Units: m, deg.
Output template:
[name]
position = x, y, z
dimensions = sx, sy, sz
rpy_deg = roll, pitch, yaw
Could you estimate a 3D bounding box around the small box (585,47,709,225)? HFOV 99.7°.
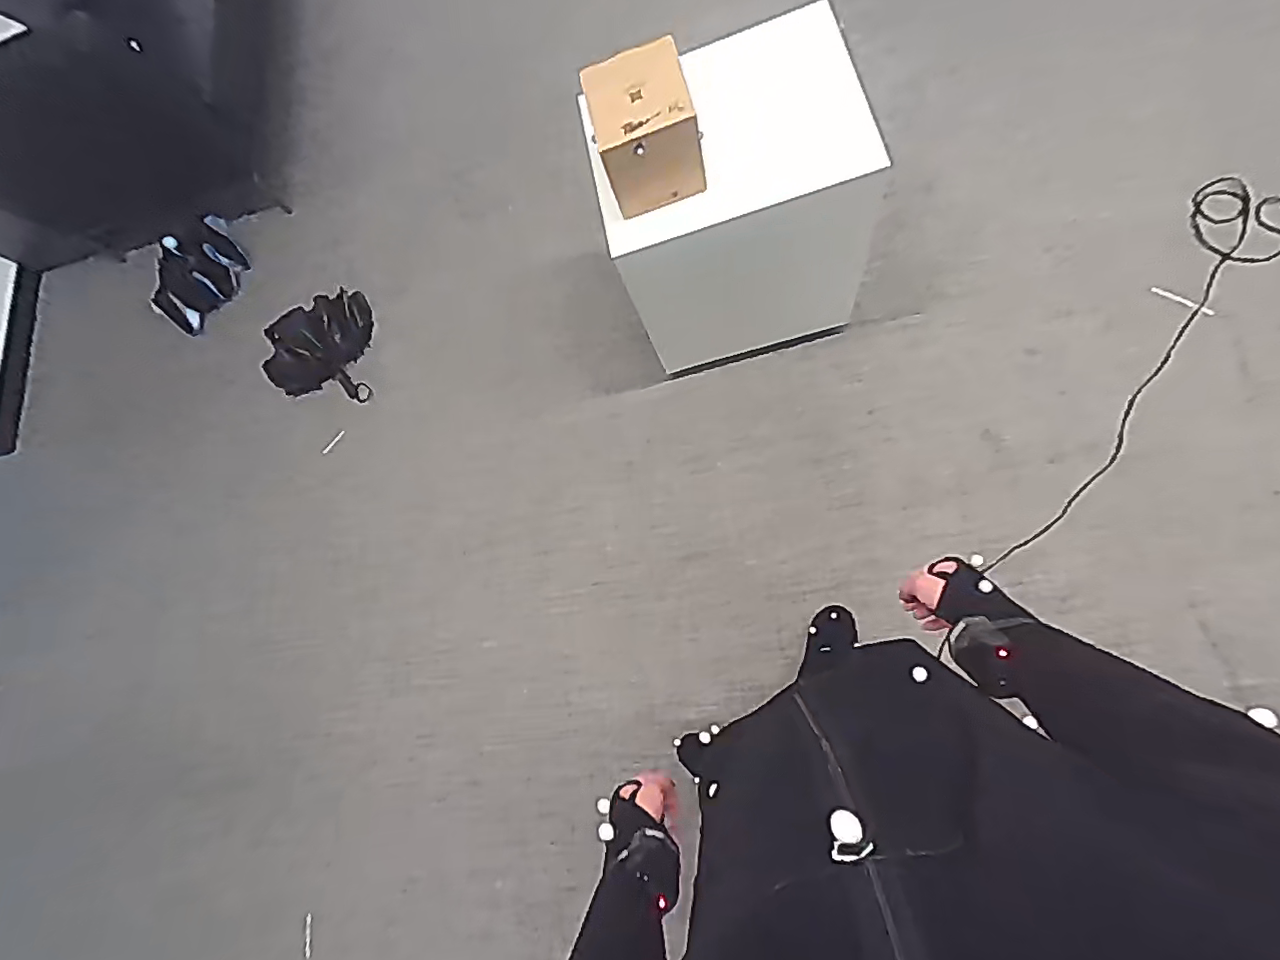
[small box]
position = 0.018, -0.598, 0.959
dimensions = 0.168, 0.176, 0.179
rpy_deg = -16, 73, 10
